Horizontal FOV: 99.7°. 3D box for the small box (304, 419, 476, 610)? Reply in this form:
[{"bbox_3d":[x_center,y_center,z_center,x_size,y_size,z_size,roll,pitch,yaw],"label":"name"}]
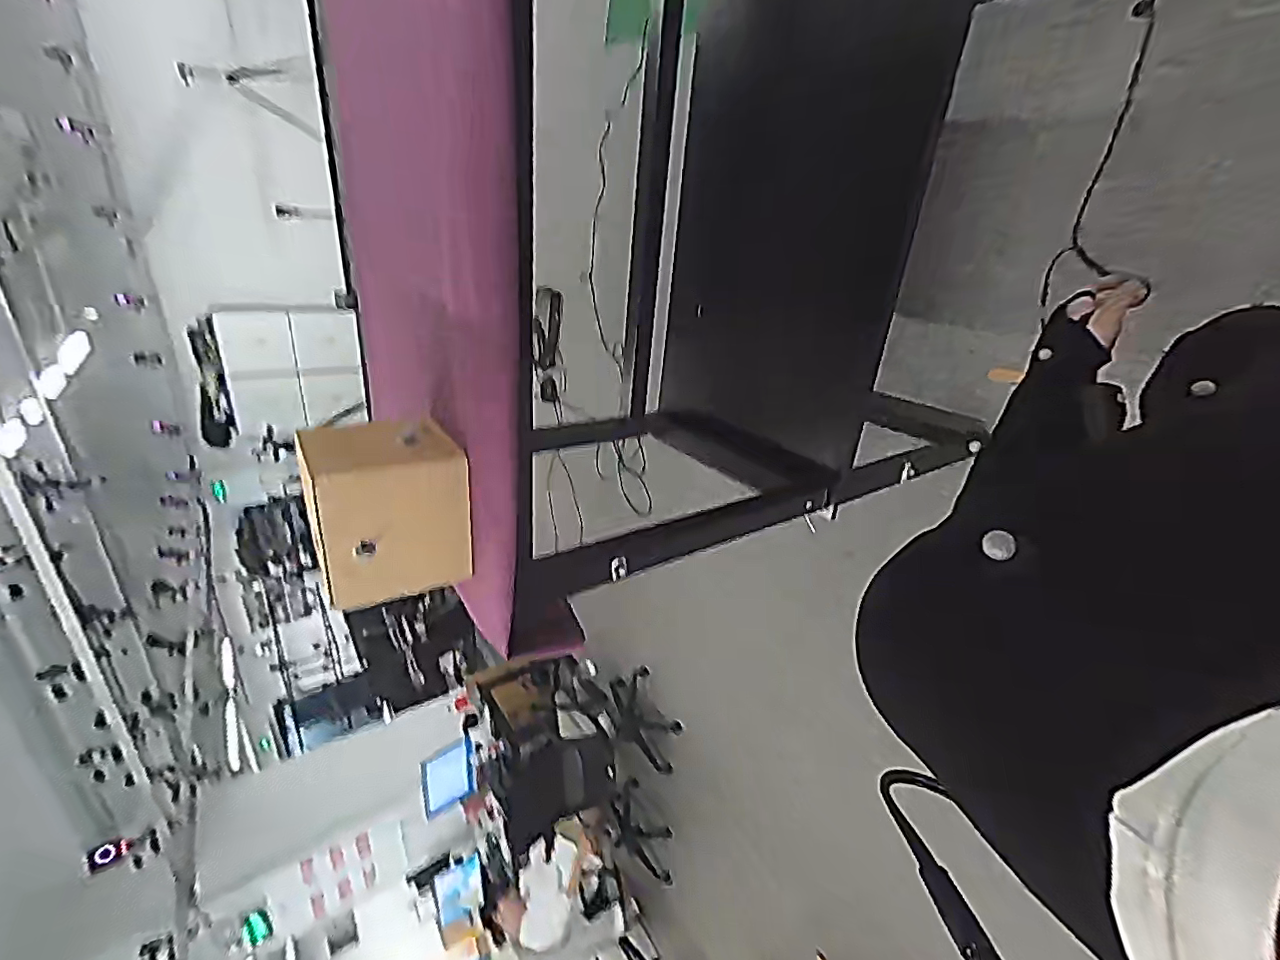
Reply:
[{"bbox_3d":[-0.318,0.033,0.700,0.168,0.176,0.179,34,126,47],"label":"small box"}]
